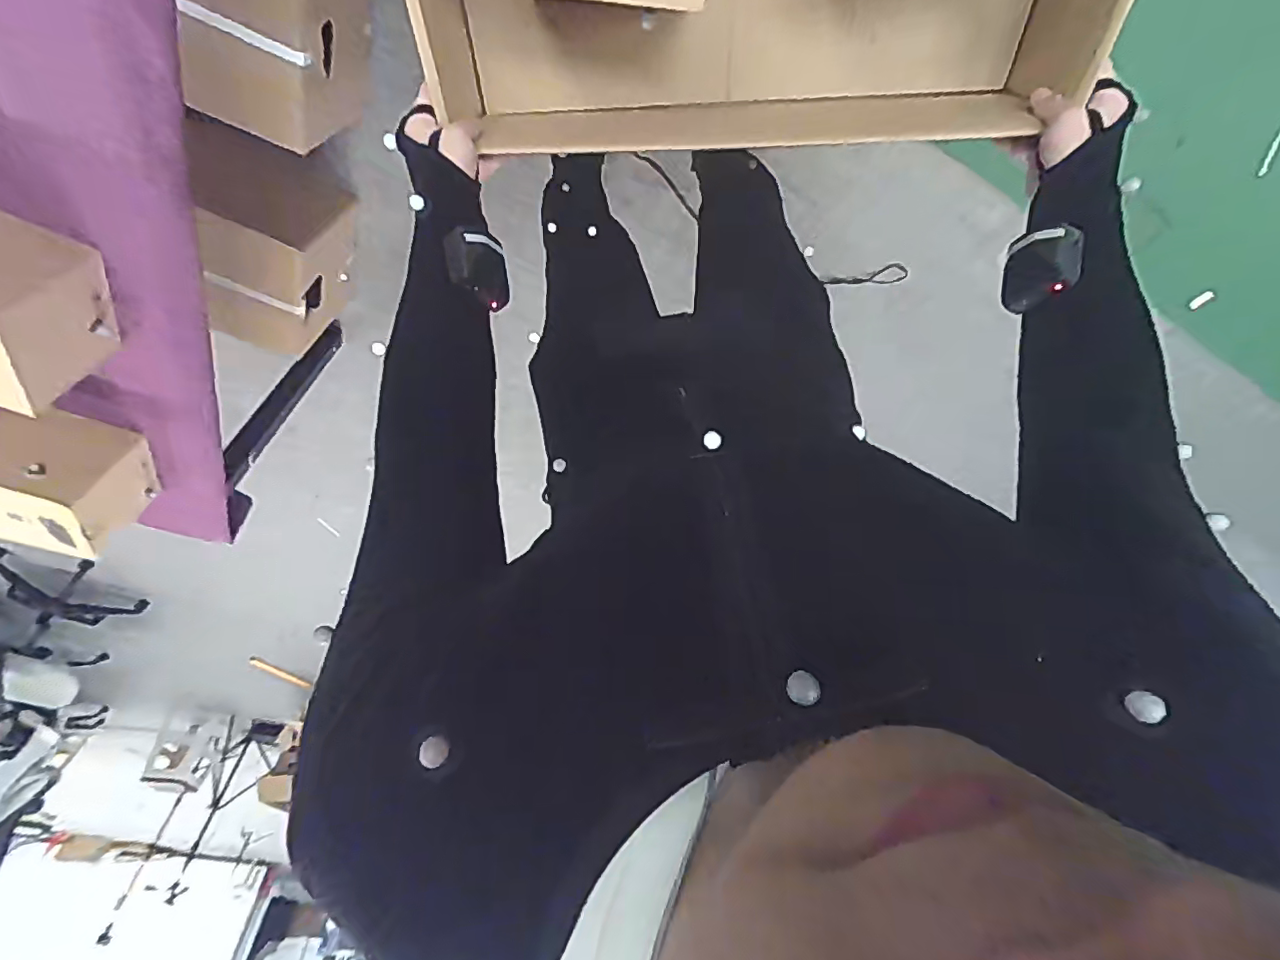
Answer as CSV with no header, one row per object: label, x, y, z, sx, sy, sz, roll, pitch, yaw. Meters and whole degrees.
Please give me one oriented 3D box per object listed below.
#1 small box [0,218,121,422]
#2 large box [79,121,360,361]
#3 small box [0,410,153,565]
small box,-0.810,-0.210,0.667,0.179,0.176,0.168,22,134,-17
large box,-0.935,-0.554,1.275,0.408,0.320,0.320,21,133,-16
small box,-0.969,0.011,0.906,0.179,0.176,0.168,21,133,-15
